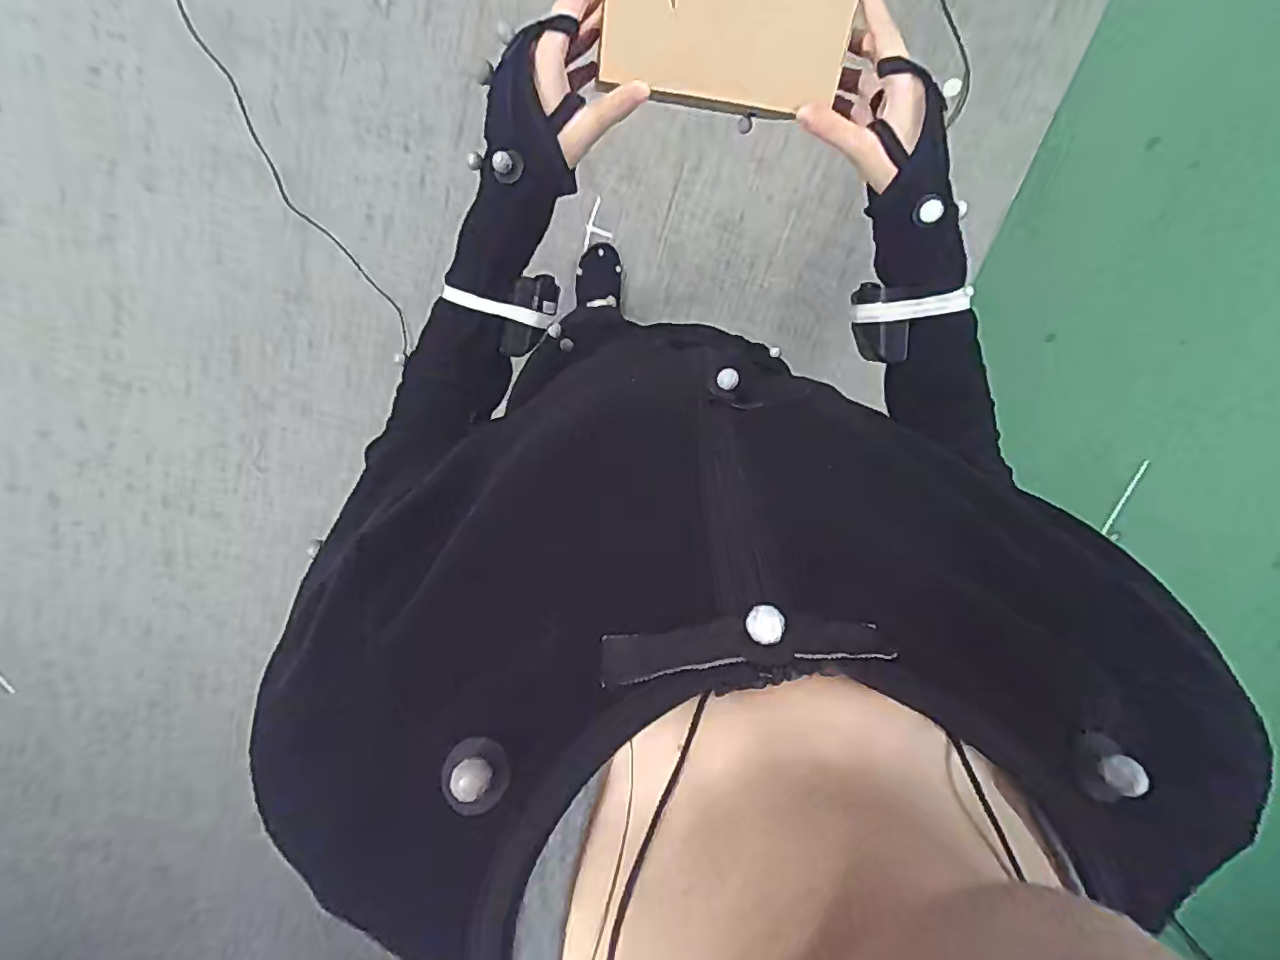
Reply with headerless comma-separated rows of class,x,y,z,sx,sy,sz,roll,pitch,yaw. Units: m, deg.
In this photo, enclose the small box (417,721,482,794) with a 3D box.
small box,-0.606,0.892,1.678,0.168,0.176,0.179,24,104,-12
